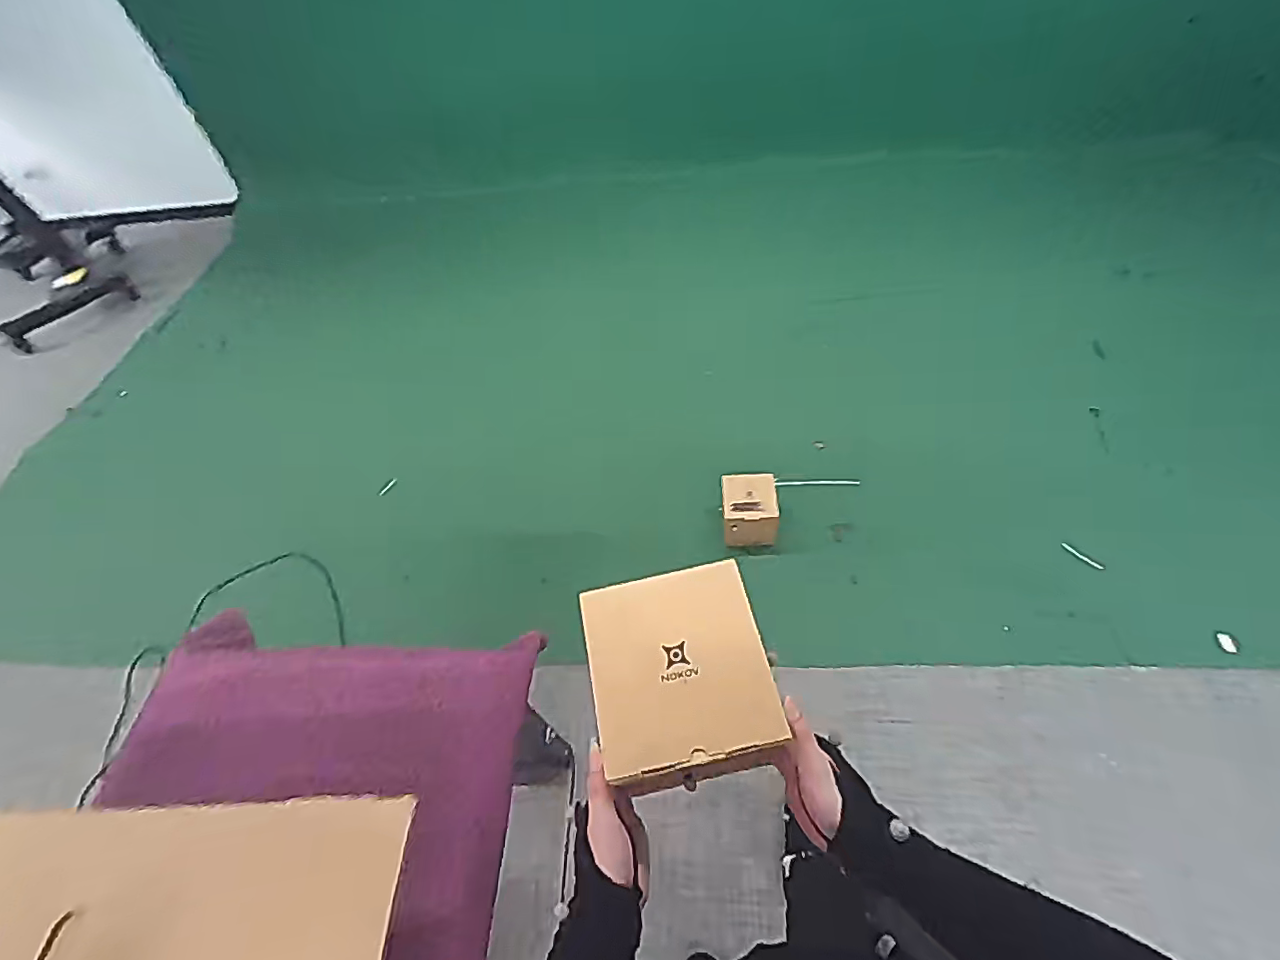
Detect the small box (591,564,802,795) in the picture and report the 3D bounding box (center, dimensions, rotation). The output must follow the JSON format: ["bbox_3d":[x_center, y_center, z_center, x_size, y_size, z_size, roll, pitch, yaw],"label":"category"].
[{"bbox_3d":[0.049,0.213,0.566,0.168,0.176,0.179,-12,57,-2],"label":"small box"}]
